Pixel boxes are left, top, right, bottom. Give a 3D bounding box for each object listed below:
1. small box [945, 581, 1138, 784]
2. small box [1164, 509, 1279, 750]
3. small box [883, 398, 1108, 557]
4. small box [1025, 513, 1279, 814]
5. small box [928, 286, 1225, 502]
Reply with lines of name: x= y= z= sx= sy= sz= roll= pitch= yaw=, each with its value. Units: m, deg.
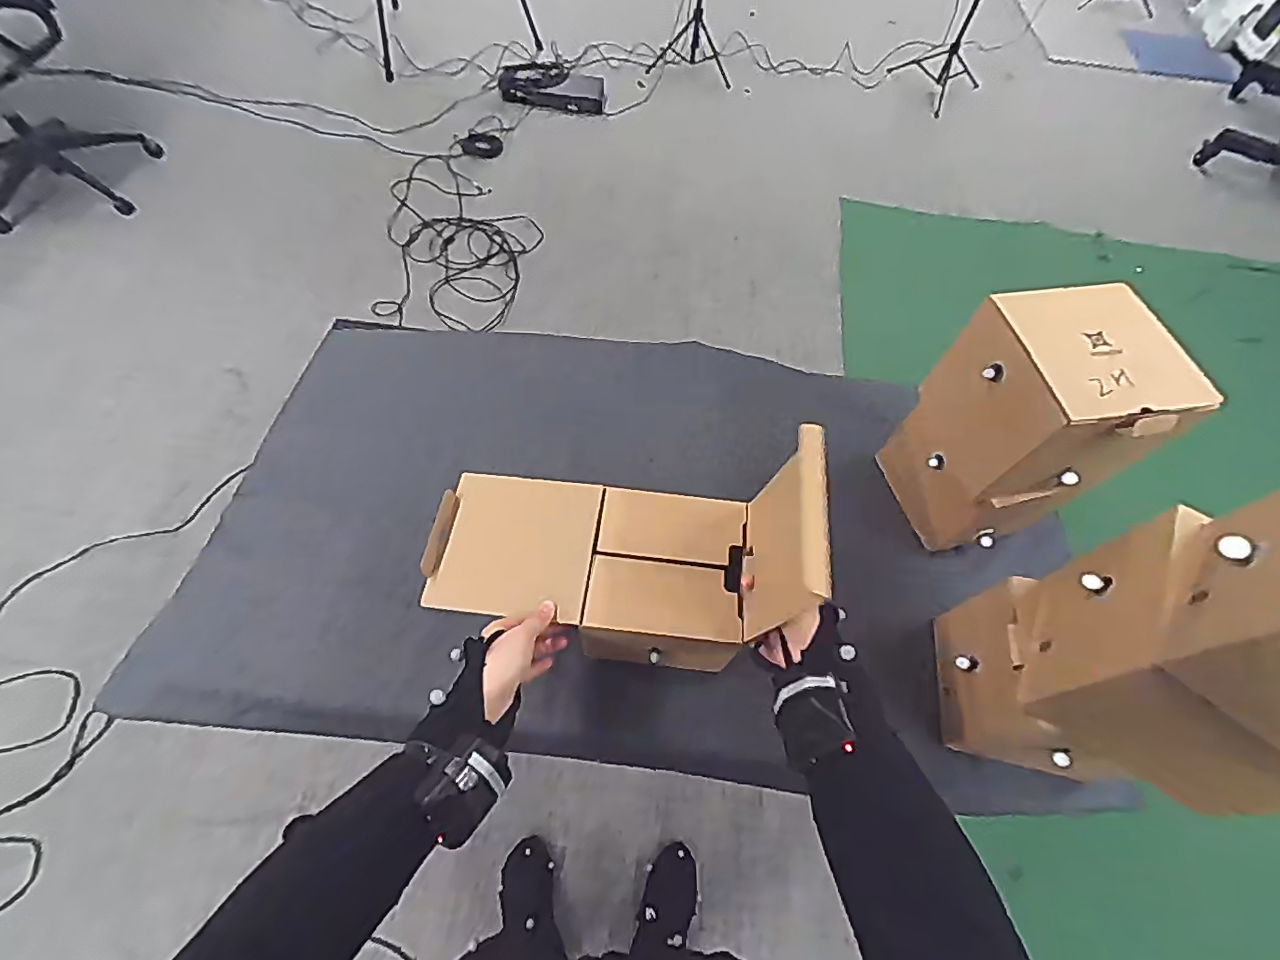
small box: x=0.476 y=0.239 z=0.622 sx=0.179 sy=0.176 sz=0.168 roll=12 pitch=58 yaw=4
small box: x=0.493 y=0.099 z=0.323 sx=0.179 sy=0.176 sz=0.168 roll=40 pitch=63 yaw=19
small box: x=0.481 y=-0.013 z=0.768 sx=0.168 sy=0.176 sz=0.179 roll=-12 pitch=63 yaw=-8
small box: x=0.488 y=0.167 z=0.475 sx=0.179 sy=0.176 sz=0.168 roll=31 pitch=60 yaw=14
small box: x=0.472 y=-0.094 z=0.624 sx=0.168 sy=0.176 sz=0.179 roll=-7 pitch=62 yaw=-4
